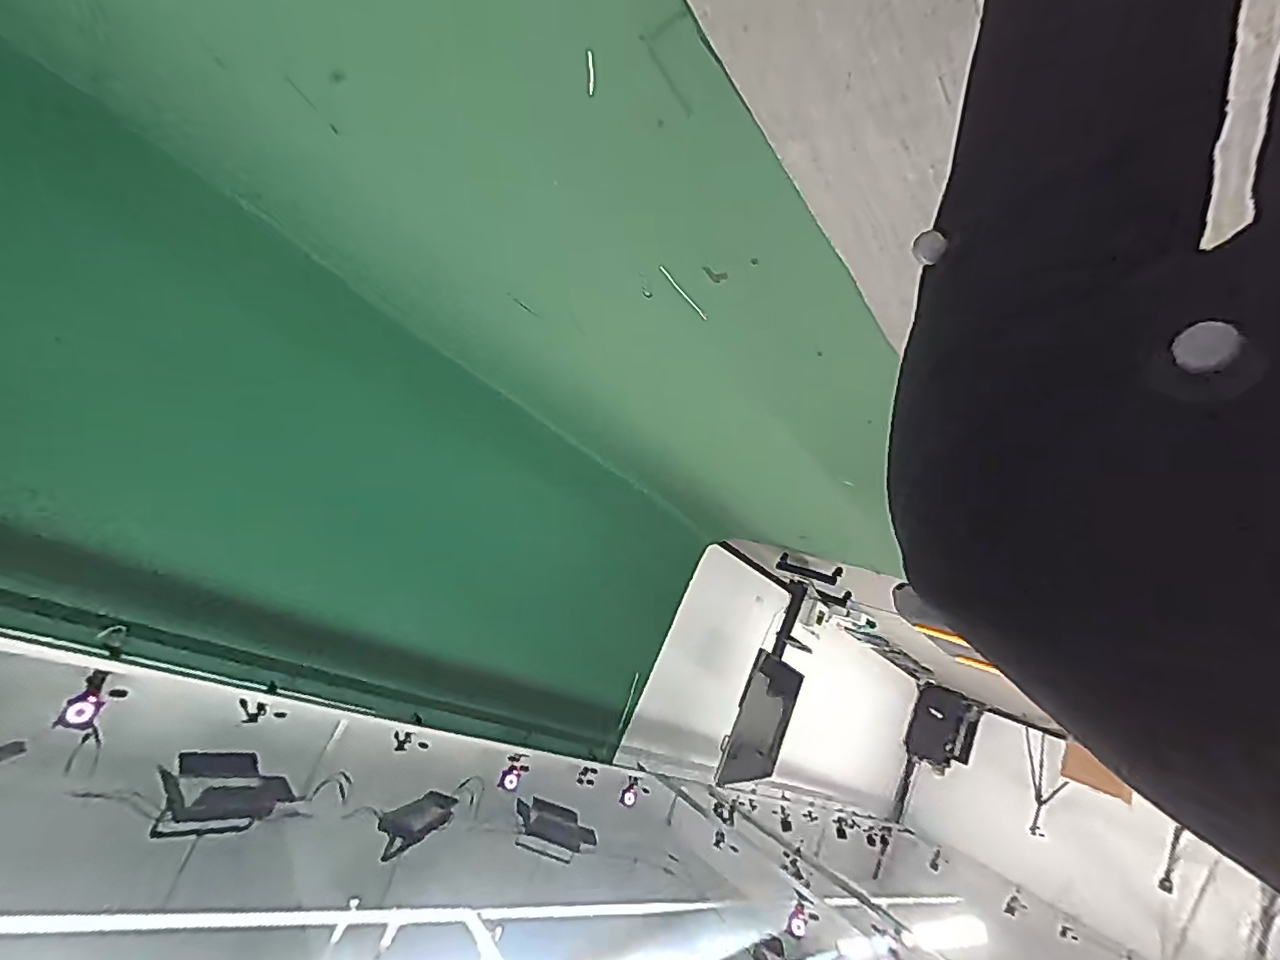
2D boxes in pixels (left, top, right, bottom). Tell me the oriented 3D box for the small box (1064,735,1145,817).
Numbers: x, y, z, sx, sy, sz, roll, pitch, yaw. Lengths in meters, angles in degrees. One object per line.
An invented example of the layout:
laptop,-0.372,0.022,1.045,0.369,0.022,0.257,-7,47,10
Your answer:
small box,1.507,0.955,1.749,0.179,0.176,0.168,36,162,-36
